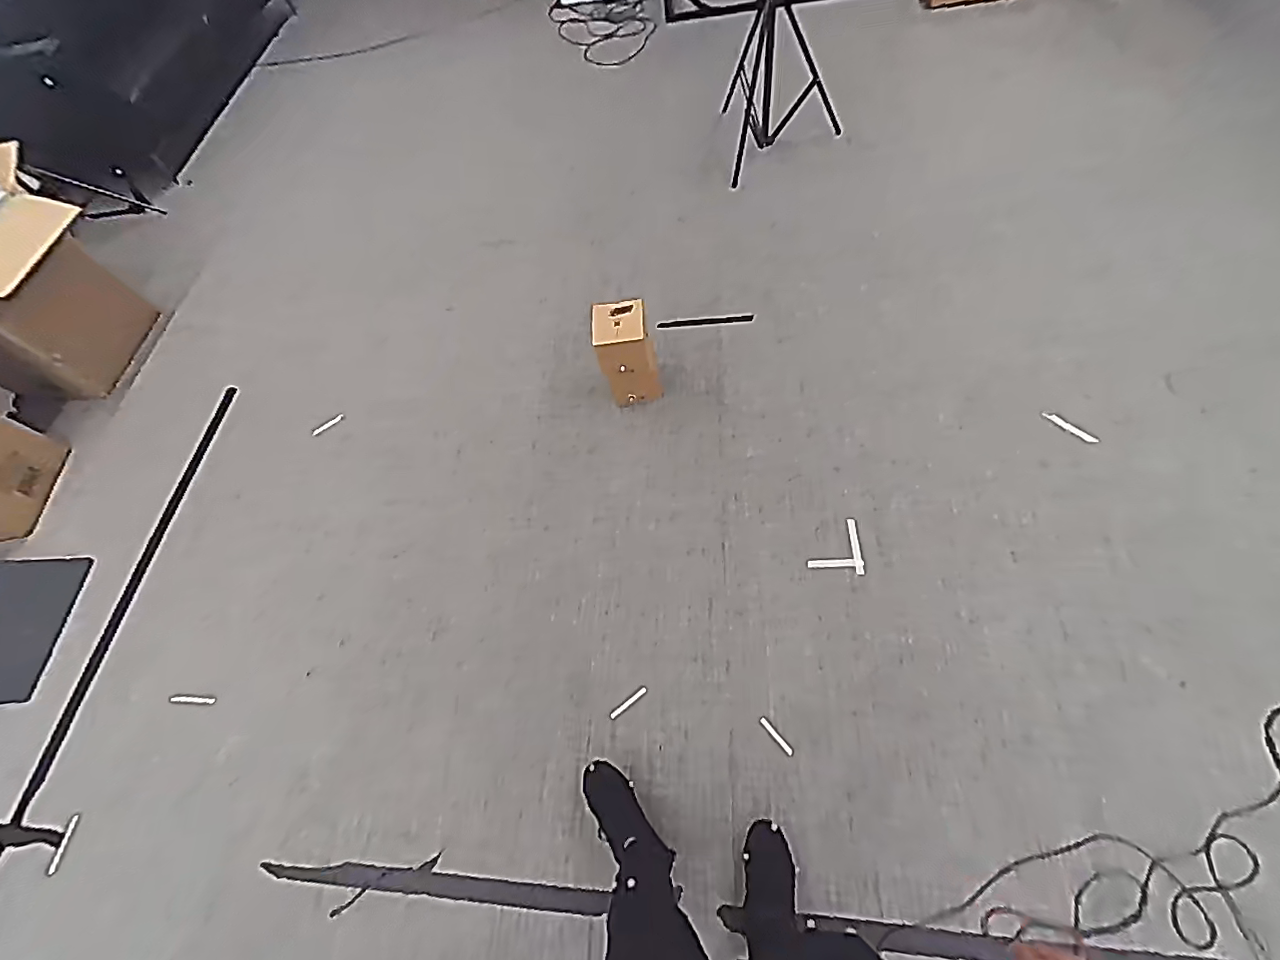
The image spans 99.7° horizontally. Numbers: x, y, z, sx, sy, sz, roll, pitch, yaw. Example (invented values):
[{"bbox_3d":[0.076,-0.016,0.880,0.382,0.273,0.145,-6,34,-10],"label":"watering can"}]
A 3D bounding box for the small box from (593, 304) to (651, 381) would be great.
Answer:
[{"bbox_3d":[-0.055,-0.453,1.794,0.168,0.176,0.179,-6,62,7],"label":"small box"}]

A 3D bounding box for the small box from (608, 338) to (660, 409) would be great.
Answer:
[{"bbox_3d":[-0.024,-0.380,1.938,0.168,0.176,0.179,-7,61,6],"label":"small box"}]
